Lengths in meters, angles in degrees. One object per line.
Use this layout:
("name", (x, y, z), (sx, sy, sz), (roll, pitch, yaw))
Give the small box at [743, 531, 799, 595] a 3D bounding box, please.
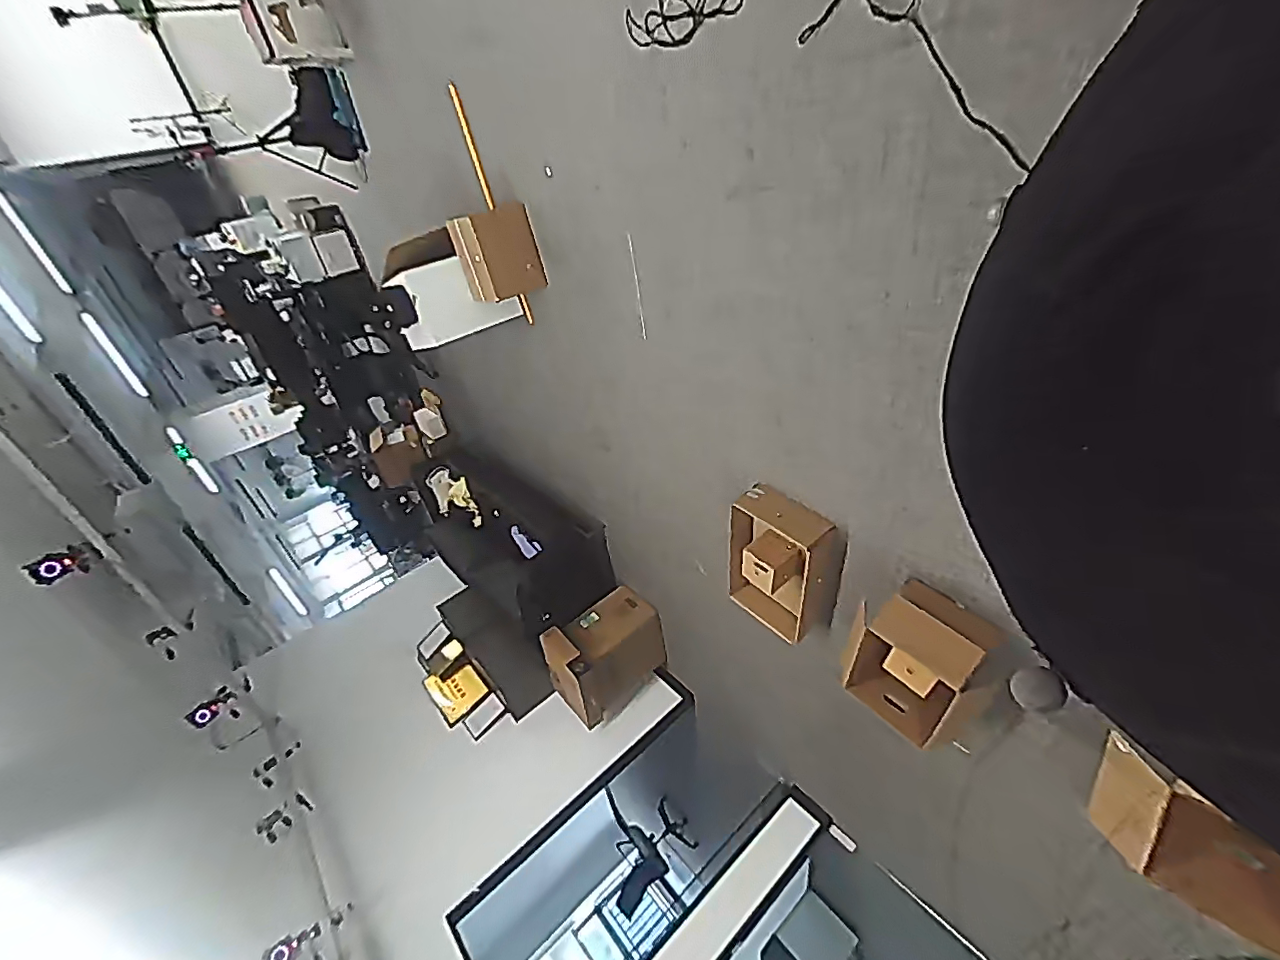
("small box", (0.560, 0.349, 2.311), (0.168, 0.176, 0.179), (36, 146, 38))
